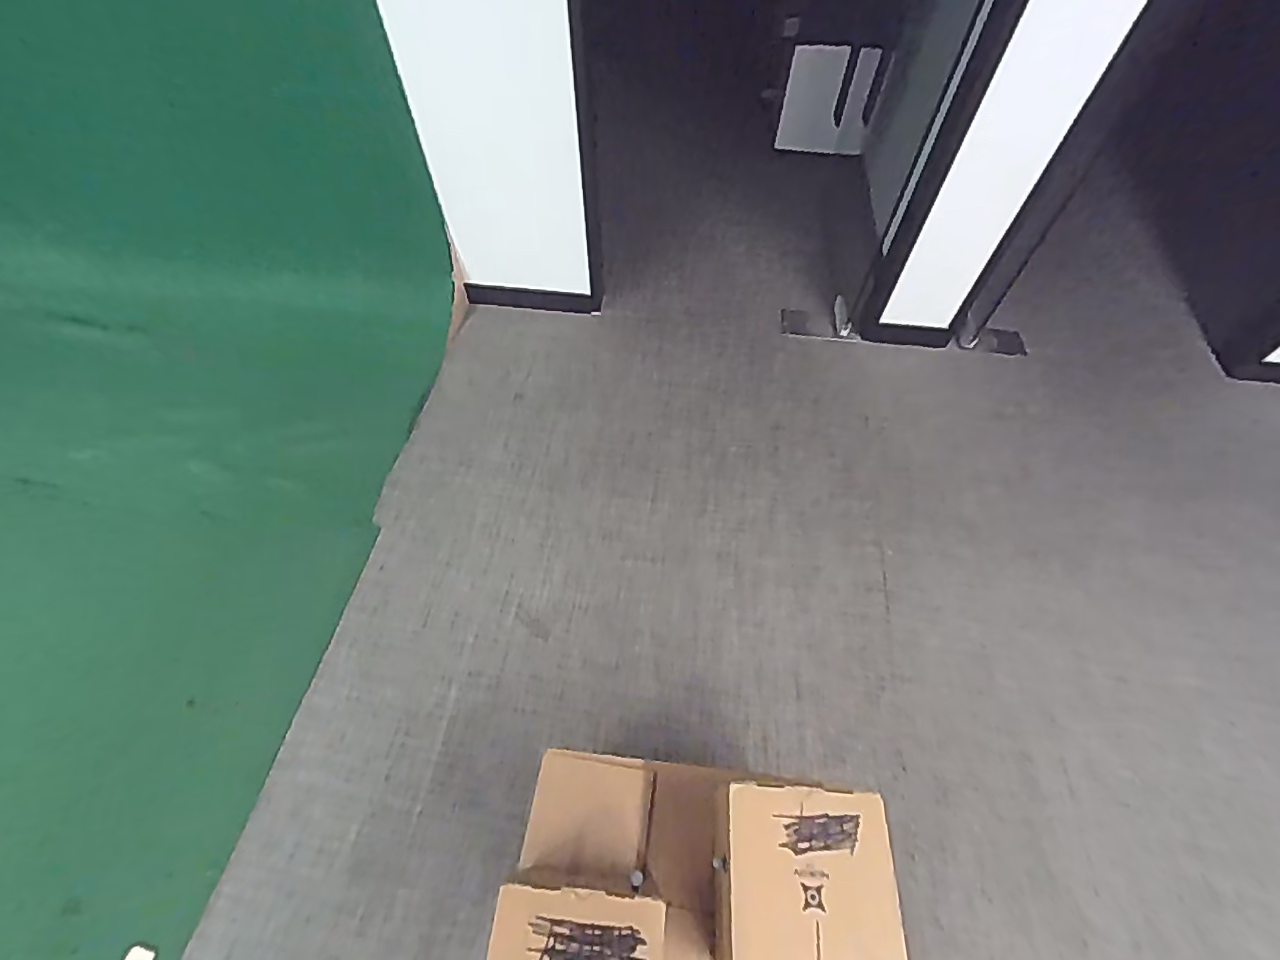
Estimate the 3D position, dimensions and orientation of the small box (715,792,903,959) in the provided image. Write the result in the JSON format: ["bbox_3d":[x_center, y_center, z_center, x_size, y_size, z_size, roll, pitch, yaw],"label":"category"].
[{"bbox_3d":[0.174,0.463,0.606,0.168,0.176,0.179,3,57,4],"label":"small box"}]
